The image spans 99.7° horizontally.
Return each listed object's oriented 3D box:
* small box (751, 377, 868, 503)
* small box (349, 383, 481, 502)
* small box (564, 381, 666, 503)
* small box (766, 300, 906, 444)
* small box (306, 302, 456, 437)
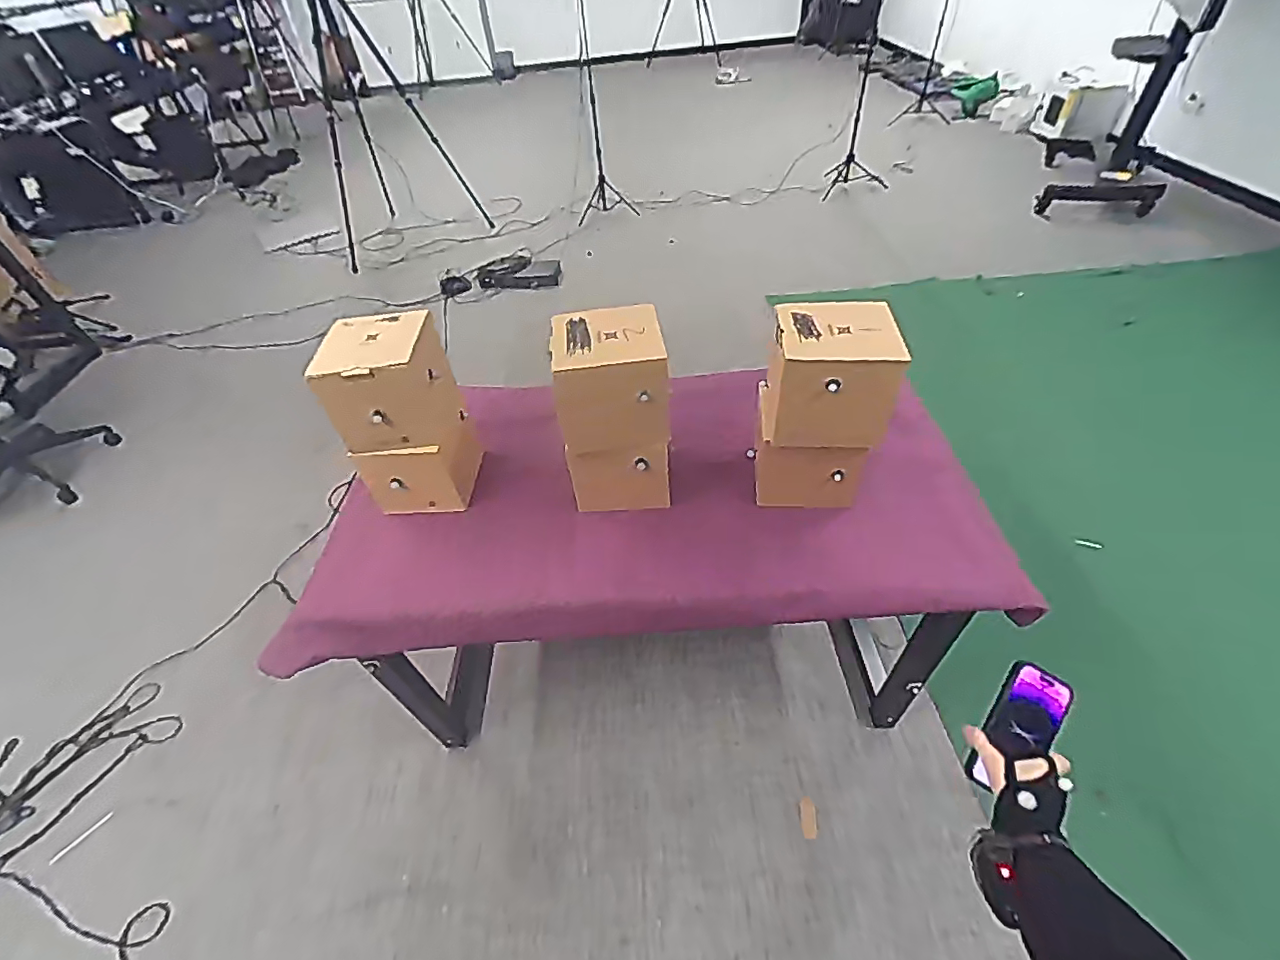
[{"bbox_3d":[0.302,-0.072,1.000,0.179,0.176,0.168,2,47,8],"label":"small box"},{"bbox_3d":[-0.428,-0.069,1.064,0.168,0.176,0.179,-2,47,4],"label":"small box"},{"bbox_3d":[-0.038,-0.070,1.027,0.179,0.176,0.168,-2,47,3],"label":"small box"},{"bbox_3d":[0.299,-0.172,0.870,0.179,0.176,0.168,3,47,7],"label":"small box"},{"bbox_3d":[-0.439,-0.187,0.950,0.168,0.176,0.179,-5,47,0],"label":"small box"}]
